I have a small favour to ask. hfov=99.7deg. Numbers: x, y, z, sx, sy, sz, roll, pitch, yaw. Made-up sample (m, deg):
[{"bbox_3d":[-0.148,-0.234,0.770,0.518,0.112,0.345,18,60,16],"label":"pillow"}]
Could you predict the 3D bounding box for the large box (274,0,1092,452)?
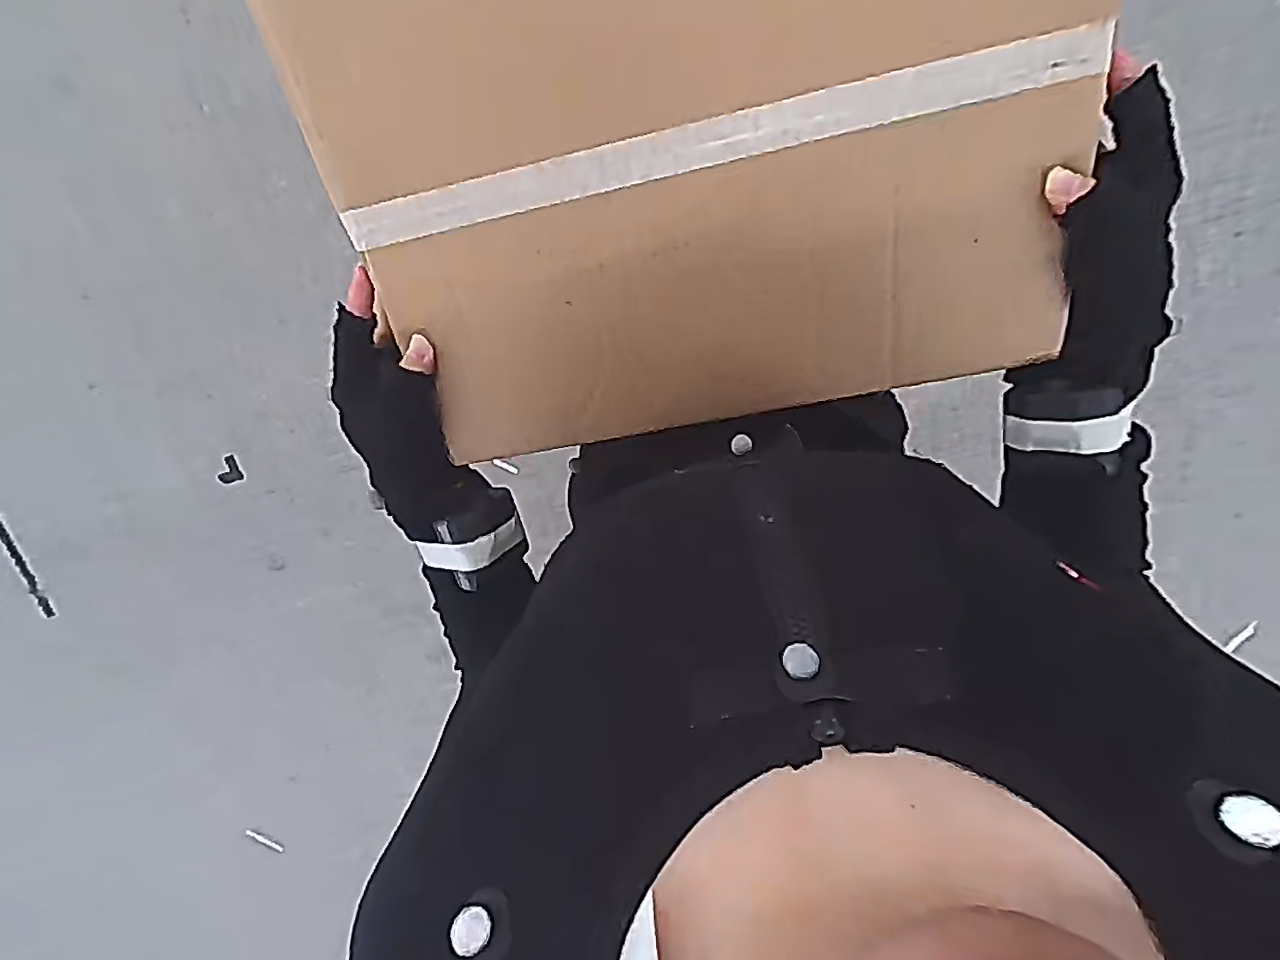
[{"bbox_3d":[0.033,-0.255,0.430,0.408,0.320,0.320,-9,119,7],"label":"large box"}]
